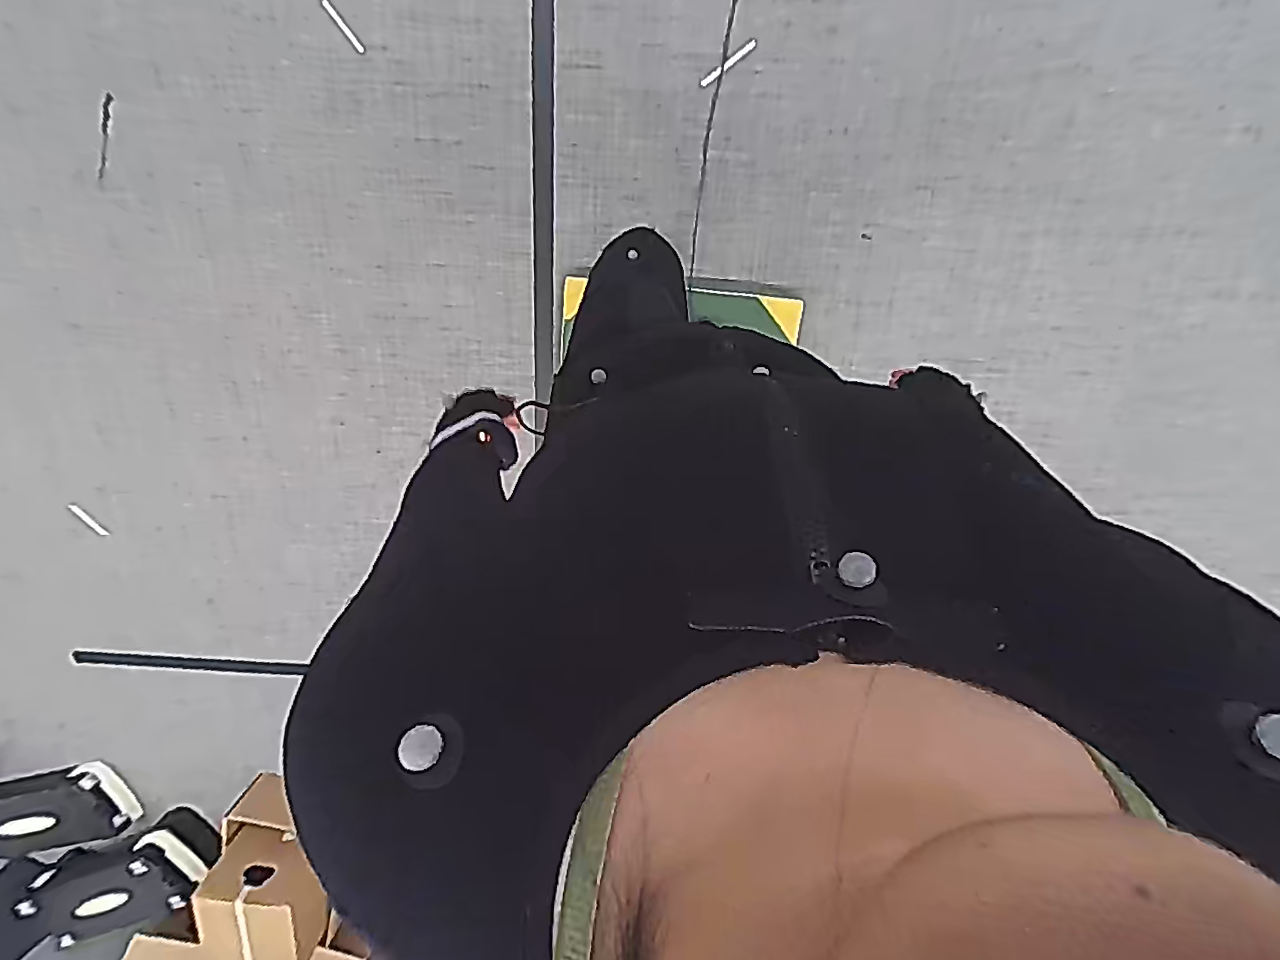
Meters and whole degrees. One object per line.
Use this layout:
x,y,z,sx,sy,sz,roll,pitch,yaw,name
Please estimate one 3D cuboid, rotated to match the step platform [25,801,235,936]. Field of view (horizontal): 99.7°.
-1.943,1.486,2.064,0.684,0.204,0.286,-24,108,9,step platform
